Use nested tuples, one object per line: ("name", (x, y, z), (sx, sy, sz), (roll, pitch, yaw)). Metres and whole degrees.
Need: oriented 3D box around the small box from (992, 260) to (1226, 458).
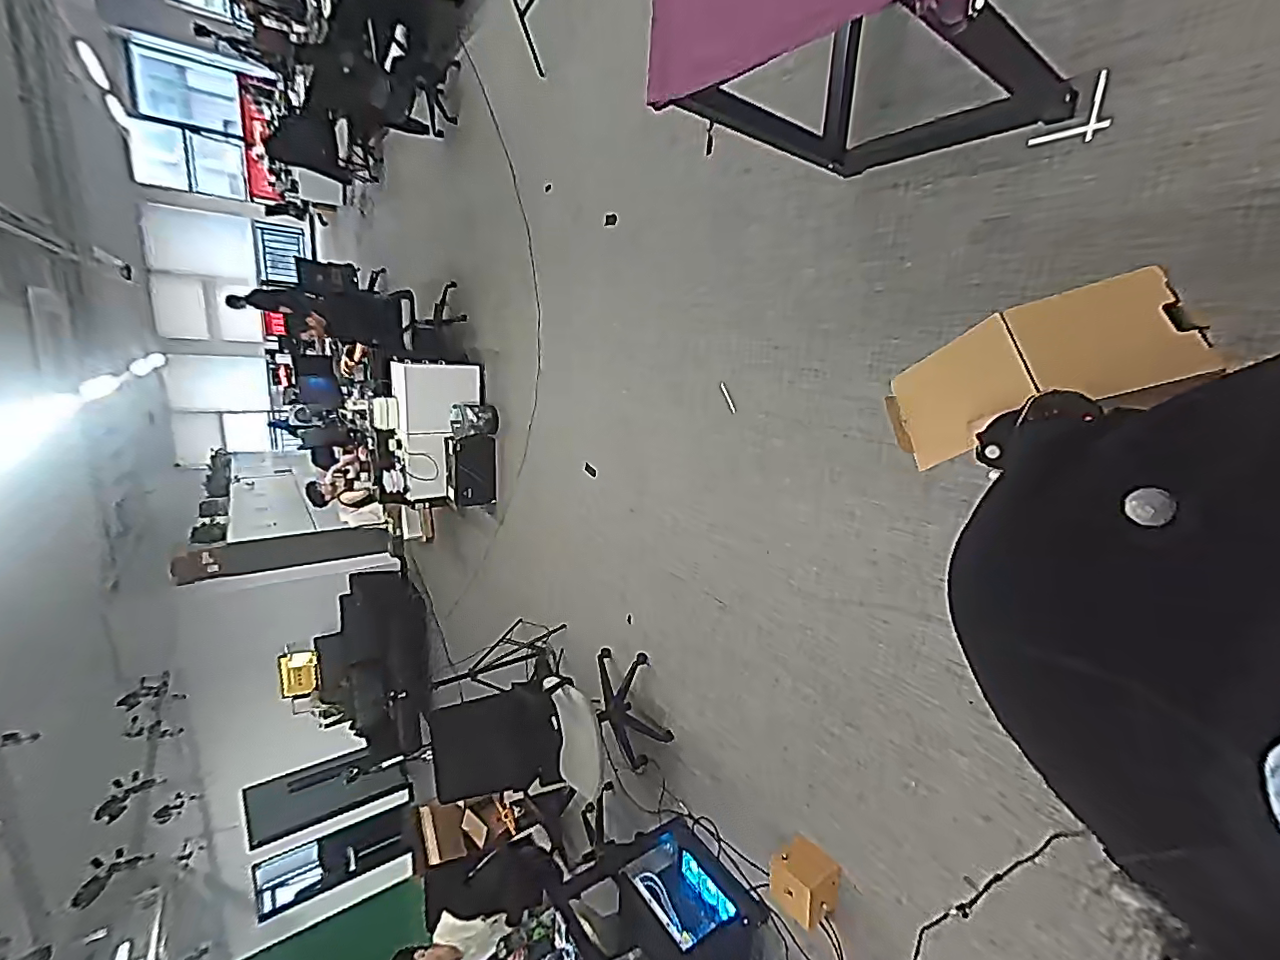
("small box", (0.594, -0.147, 0.721), (0.179, 0.176, 0.168), (-15, 63, 20))
